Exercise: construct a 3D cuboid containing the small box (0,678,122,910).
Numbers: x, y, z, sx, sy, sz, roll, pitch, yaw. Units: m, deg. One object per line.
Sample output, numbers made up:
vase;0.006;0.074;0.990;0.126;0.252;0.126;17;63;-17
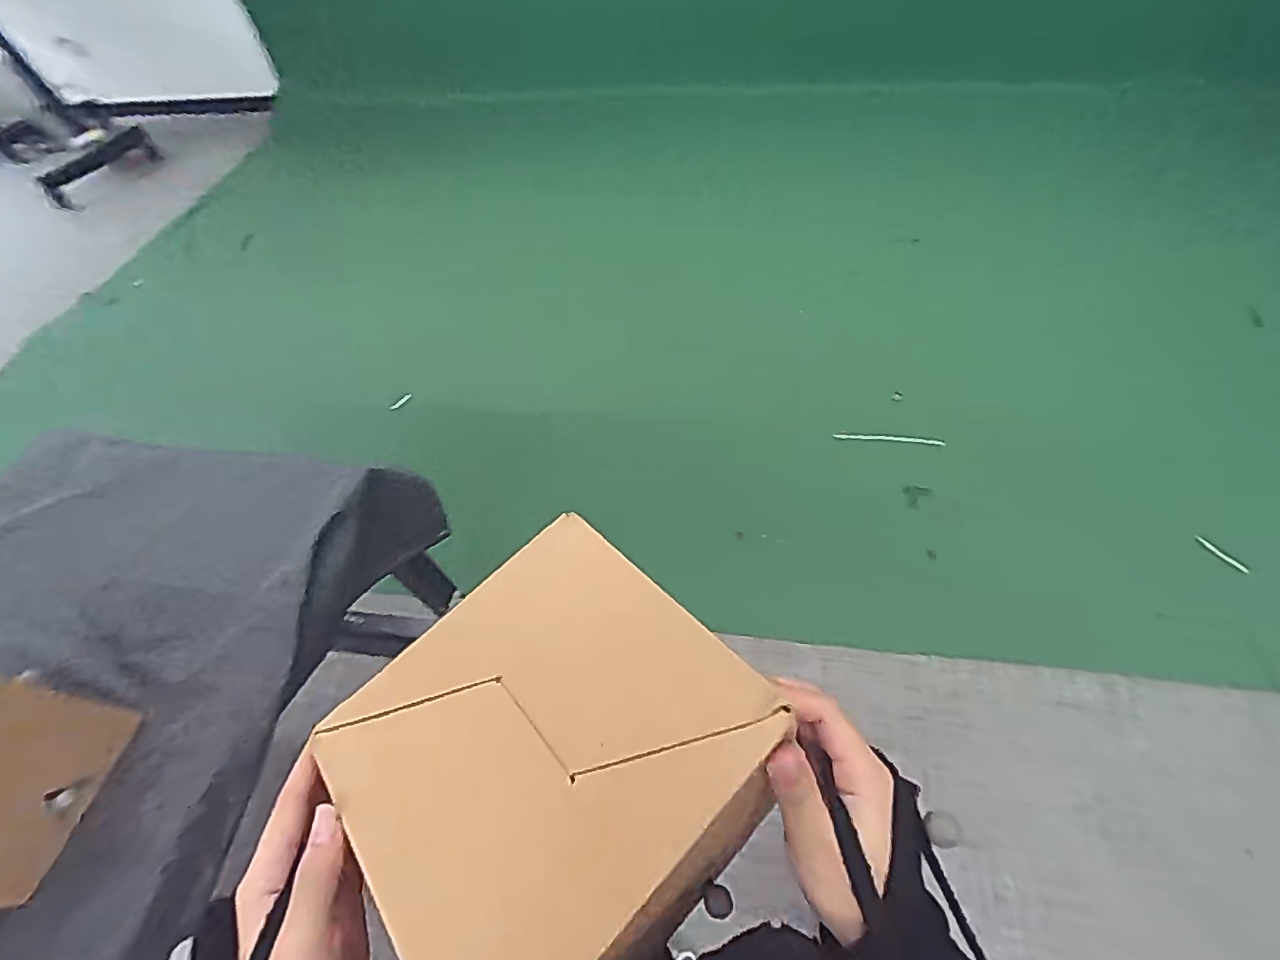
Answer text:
small box;-0.659;0.285;0.506;0.168;0.176;0.179;5;56;9
